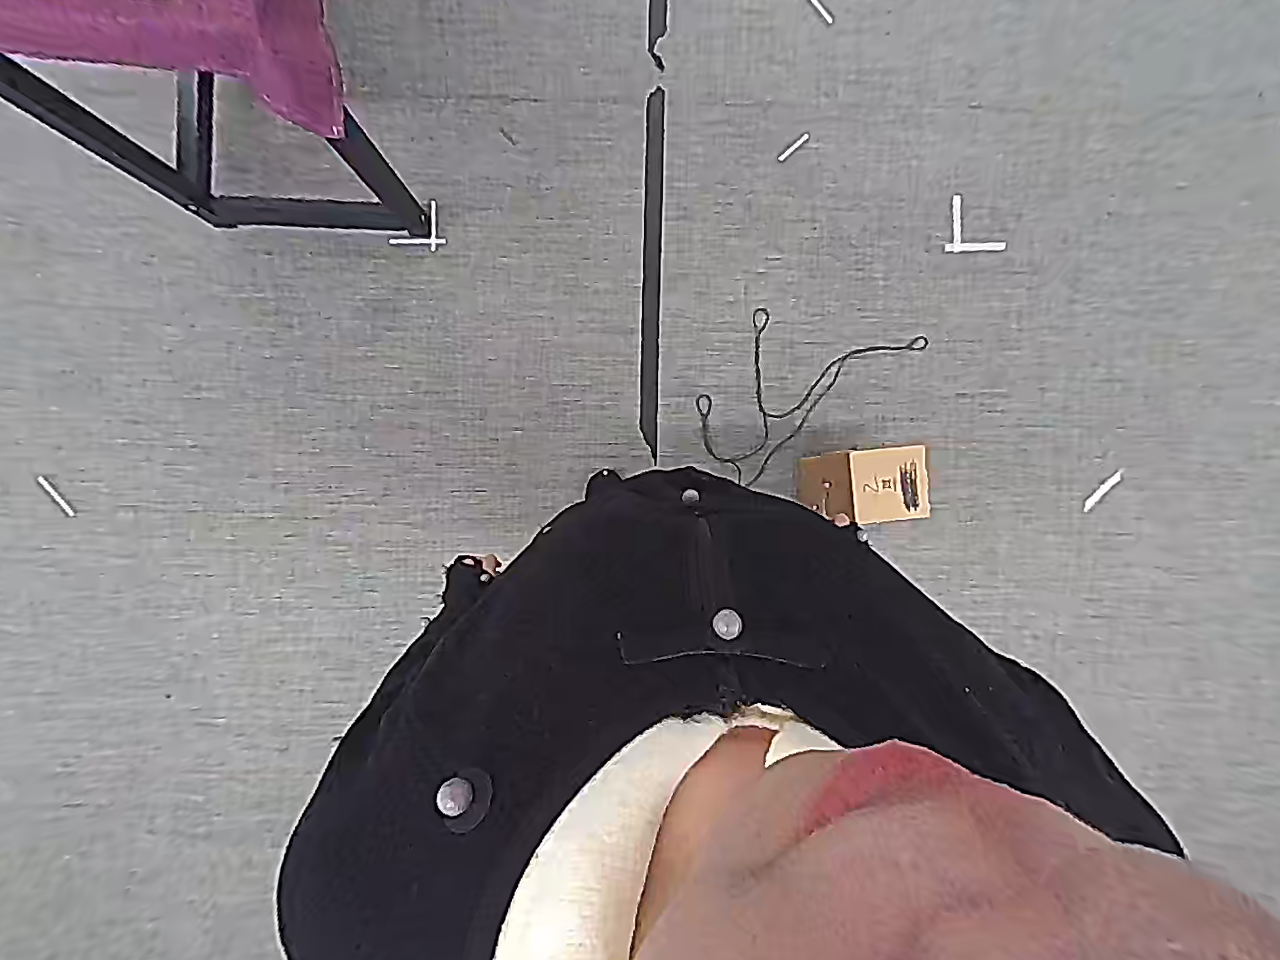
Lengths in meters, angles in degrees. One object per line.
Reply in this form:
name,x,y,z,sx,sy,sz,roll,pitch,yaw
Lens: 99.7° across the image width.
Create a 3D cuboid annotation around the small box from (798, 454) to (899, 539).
small box,0.537,0.040,1.405,0.179,0.176,0.168,-8,111,-19
